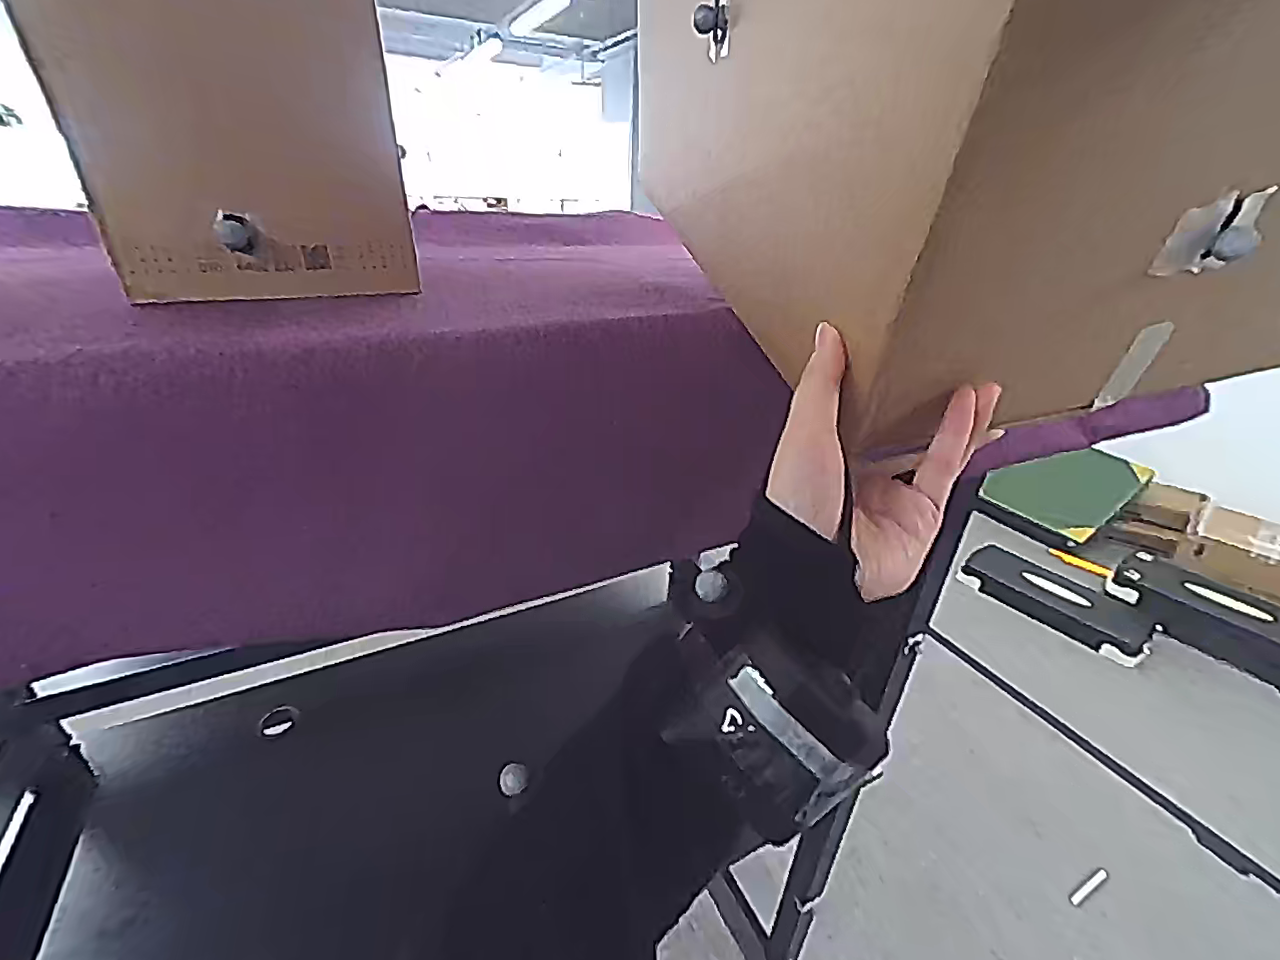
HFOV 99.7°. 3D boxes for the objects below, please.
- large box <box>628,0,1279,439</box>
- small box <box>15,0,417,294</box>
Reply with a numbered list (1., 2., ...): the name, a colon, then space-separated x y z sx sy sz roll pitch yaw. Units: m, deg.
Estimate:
1. large box: 0.188 -0.282 0.315 0.320 0.320 0.408 -11 45 -11
2. small box: -0.260 -0.228 0.372 0.168 0.176 0.179 -12 32 -23
